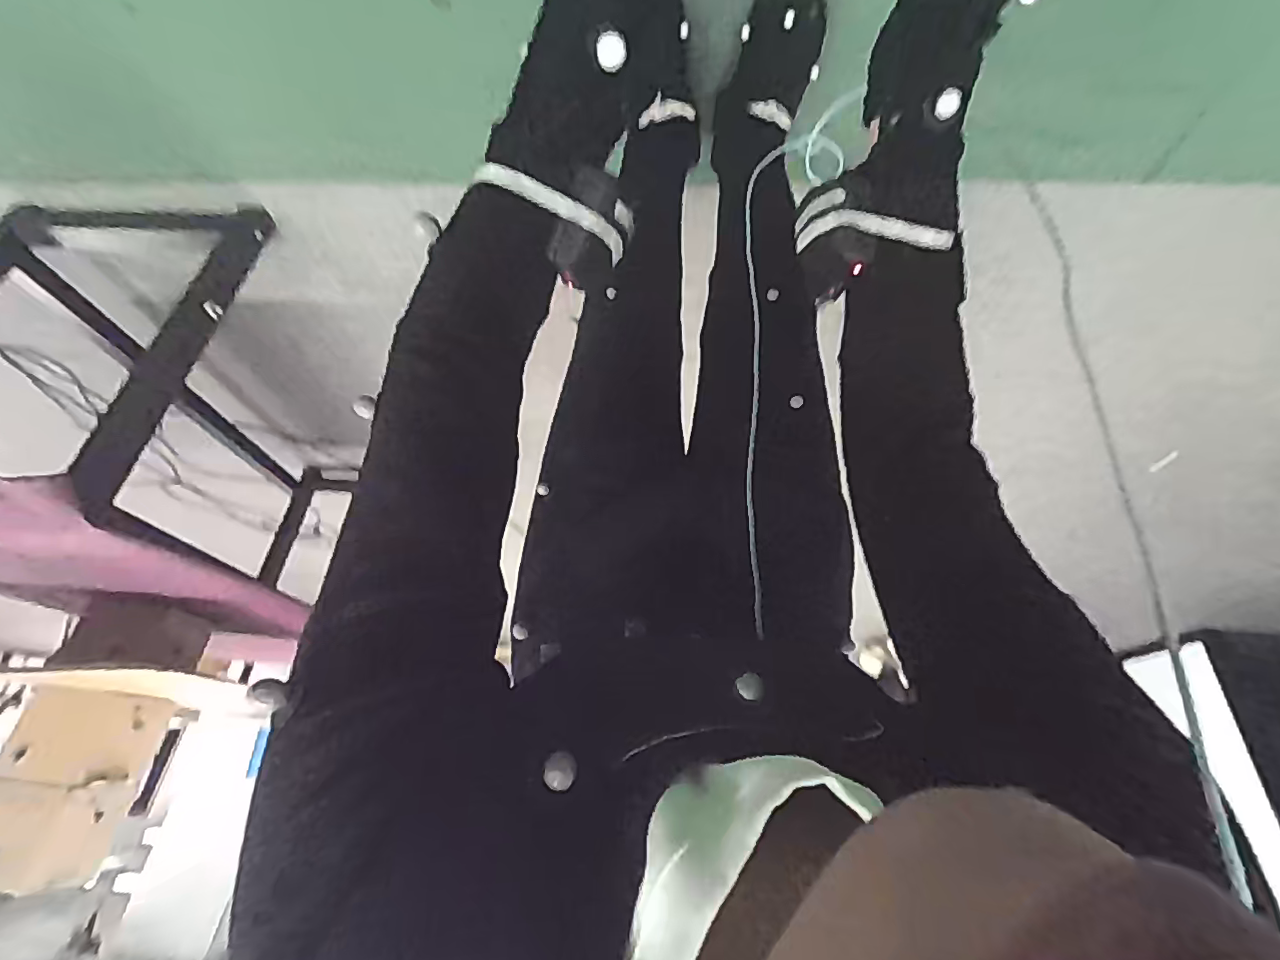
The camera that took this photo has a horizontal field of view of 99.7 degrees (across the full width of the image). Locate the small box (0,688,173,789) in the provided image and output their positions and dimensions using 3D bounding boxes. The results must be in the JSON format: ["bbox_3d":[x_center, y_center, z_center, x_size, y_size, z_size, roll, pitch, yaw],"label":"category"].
[{"bbox_3d":[-1.139,0.533,1.118,0.179,0.176,0.168,5,151,3],"label":"small box"}]

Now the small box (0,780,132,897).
[{"bbox_3d":[-1.156,0.675,1.039,0.179,0.176,0.168,5,150,3],"label":"small box"}]
